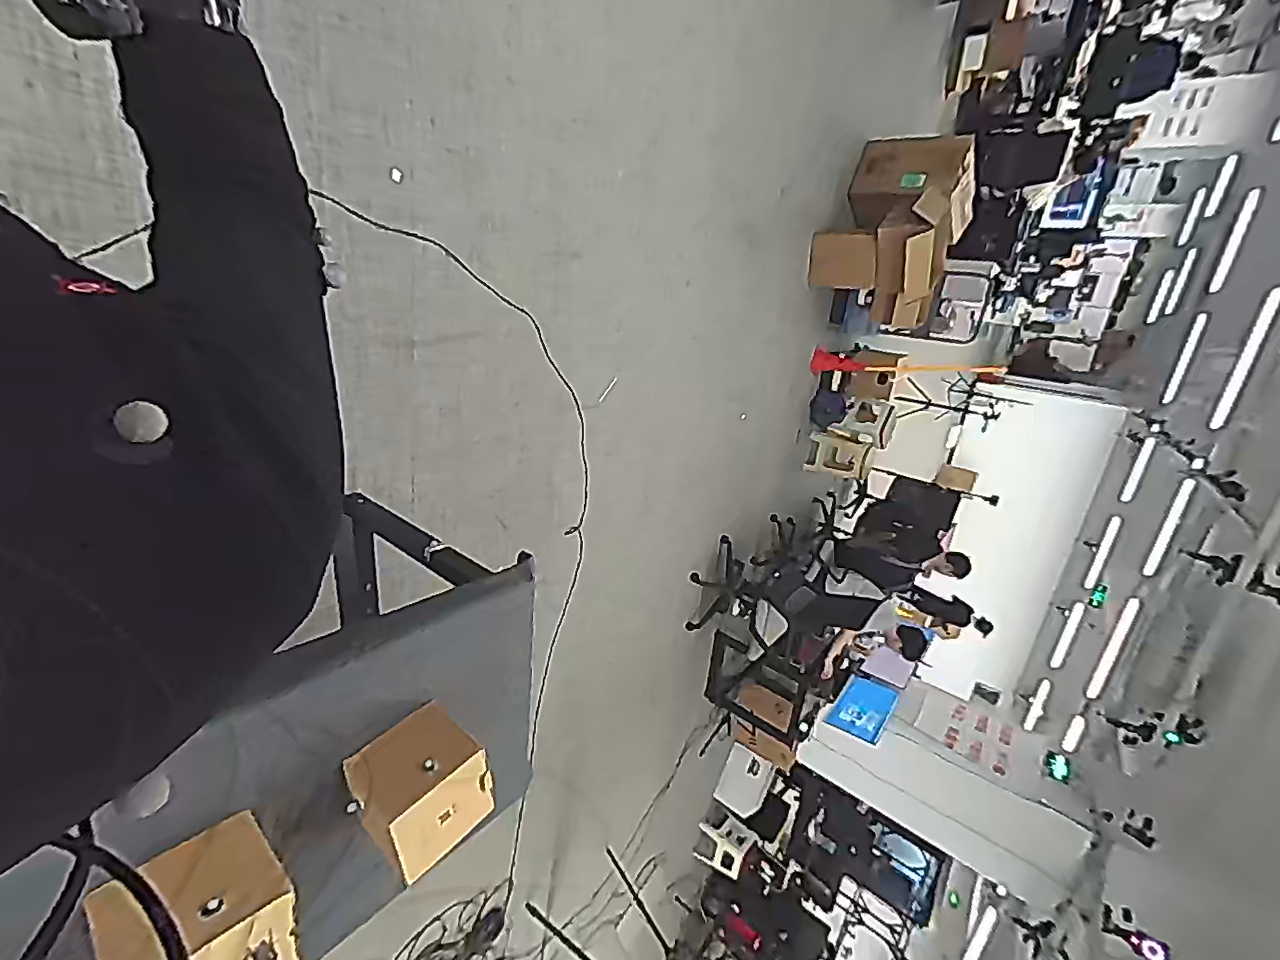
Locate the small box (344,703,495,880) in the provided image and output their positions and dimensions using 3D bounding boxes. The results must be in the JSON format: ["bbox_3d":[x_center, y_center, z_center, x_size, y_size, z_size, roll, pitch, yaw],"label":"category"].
[{"bbox_3d":[-0.388,0.539,0.962,0.179,0.176,0.168,-28,127,-43],"label":"small box"}]

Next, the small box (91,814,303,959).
[{"bbox_3d":[-0.582,0.600,0.720,0.179,0.176,0.168,-15,118,-50],"label":"small box"}]
